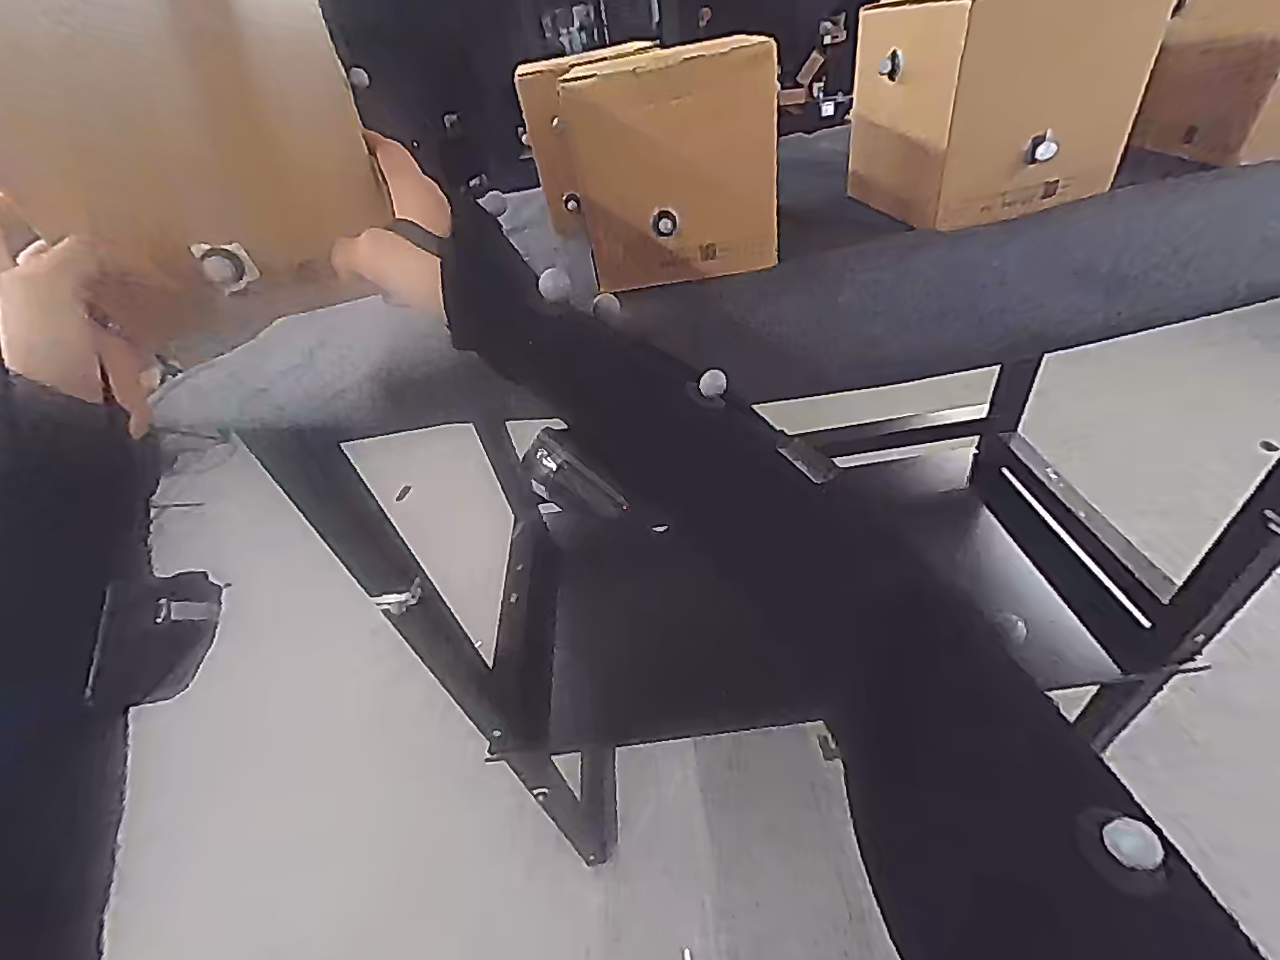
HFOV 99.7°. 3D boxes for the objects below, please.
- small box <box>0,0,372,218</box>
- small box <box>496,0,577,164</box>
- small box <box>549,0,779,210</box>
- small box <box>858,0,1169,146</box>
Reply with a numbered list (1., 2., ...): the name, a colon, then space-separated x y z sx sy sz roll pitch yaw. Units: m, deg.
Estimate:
1. small box: -0.266 -0.266 0.289 0.168 0.176 0.179 -20 52 -14
2. small box: -0.065 -0.503 0.661 0.168 0.176 0.179 -11 40 0
3. small box: 0.022 -0.354 0.474 0.168 0.176 0.179 -7 40 6
4. small box: 0.306 -0.404 0.463 0.168 0.176 0.179 -13 41 -1
